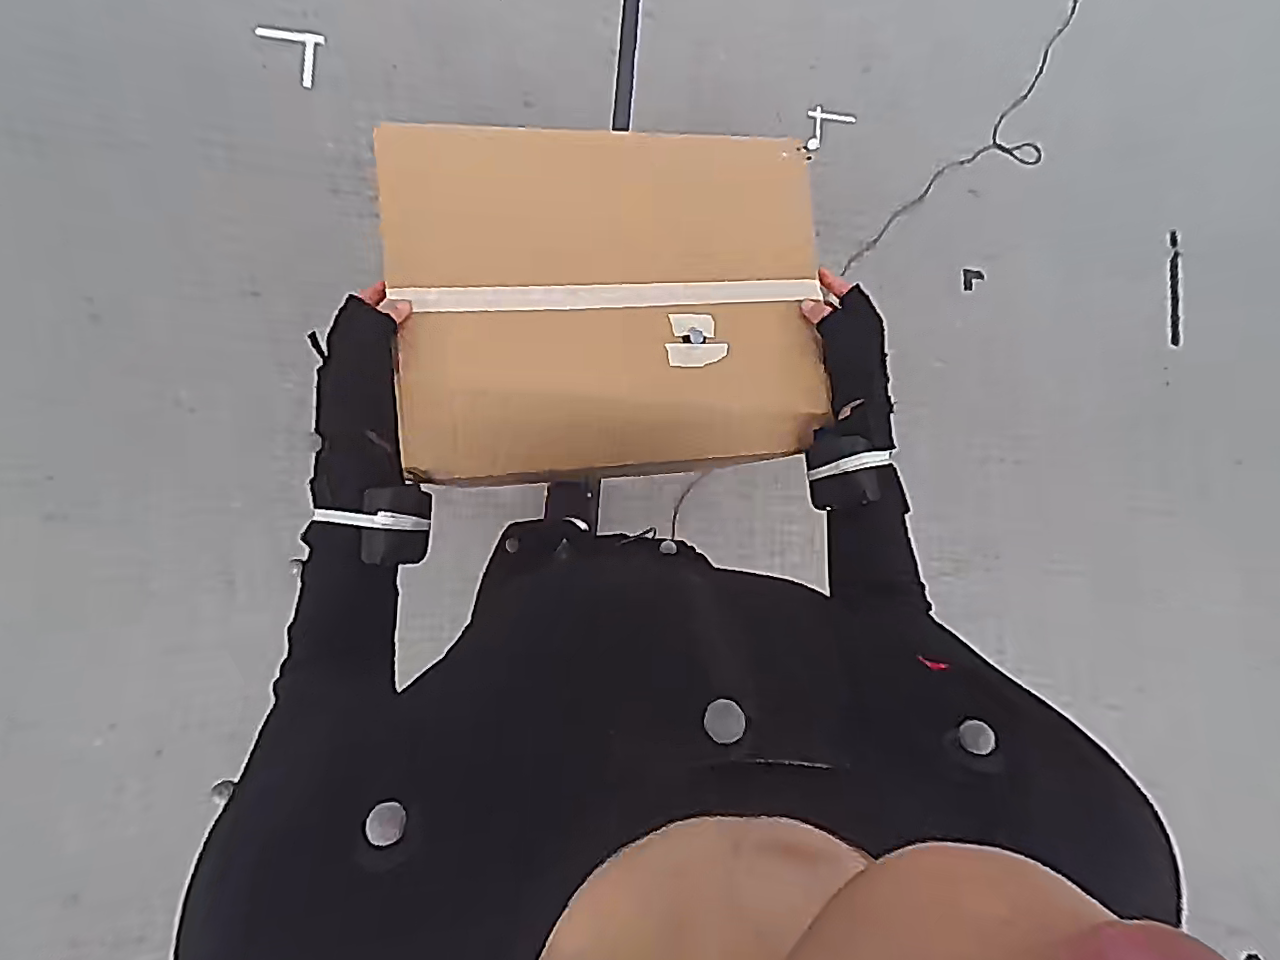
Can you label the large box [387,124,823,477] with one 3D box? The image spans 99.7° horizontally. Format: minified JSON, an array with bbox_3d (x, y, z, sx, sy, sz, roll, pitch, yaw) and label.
[{"bbox_3d":[-0.049,-0.178,0.662,0.408,0.320,0.320,-5,90,-11],"label":"large box"}]
